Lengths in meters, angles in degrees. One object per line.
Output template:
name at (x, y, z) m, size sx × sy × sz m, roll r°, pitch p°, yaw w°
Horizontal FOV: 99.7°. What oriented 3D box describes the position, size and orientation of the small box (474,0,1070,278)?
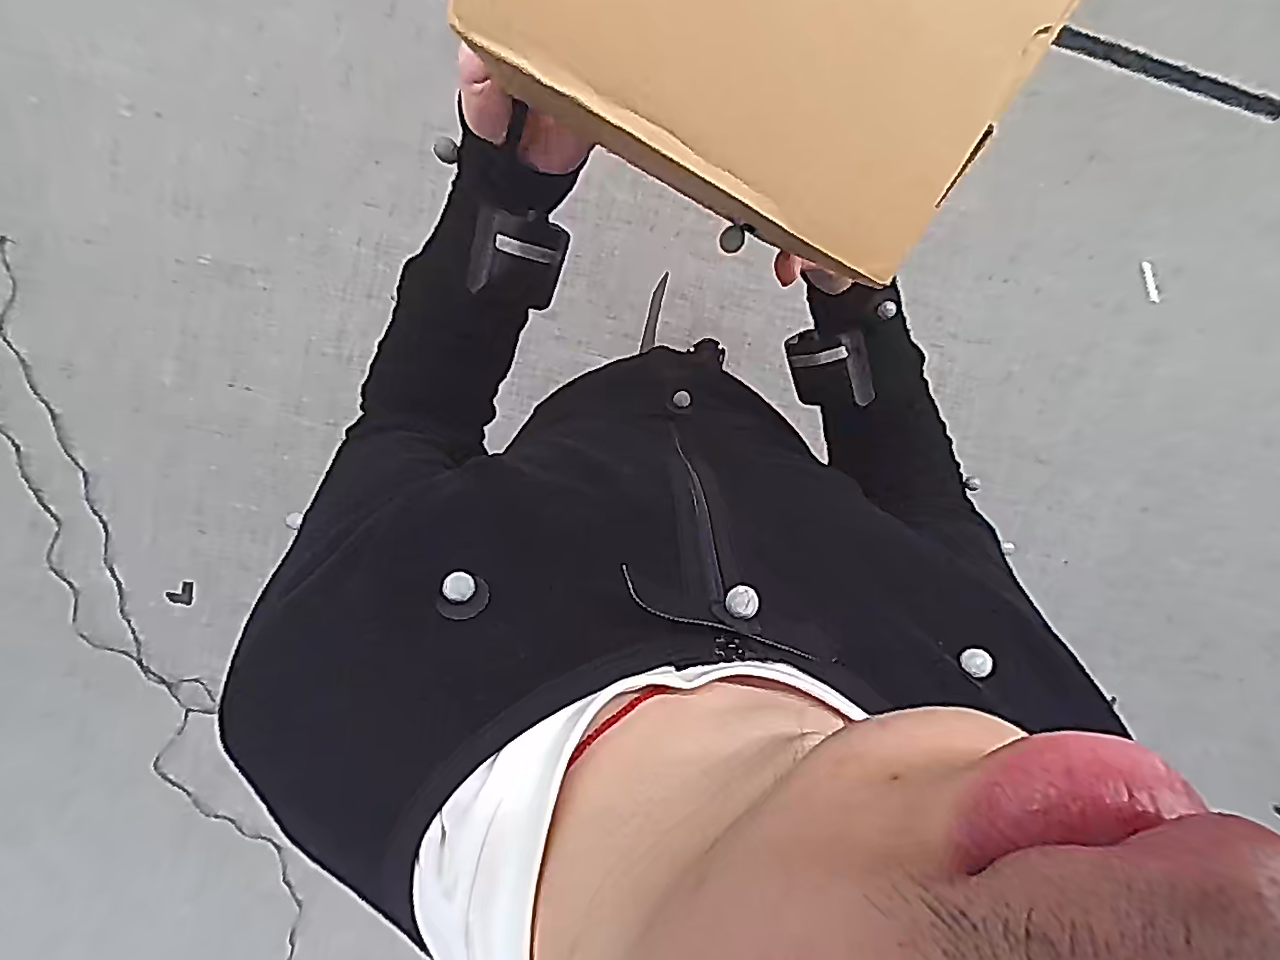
small box at (0.051, -0.214, 0.231) m, size 0.179 × 0.176 × 0.168 m, roll 20°, pitch 115°, yaw -17°
